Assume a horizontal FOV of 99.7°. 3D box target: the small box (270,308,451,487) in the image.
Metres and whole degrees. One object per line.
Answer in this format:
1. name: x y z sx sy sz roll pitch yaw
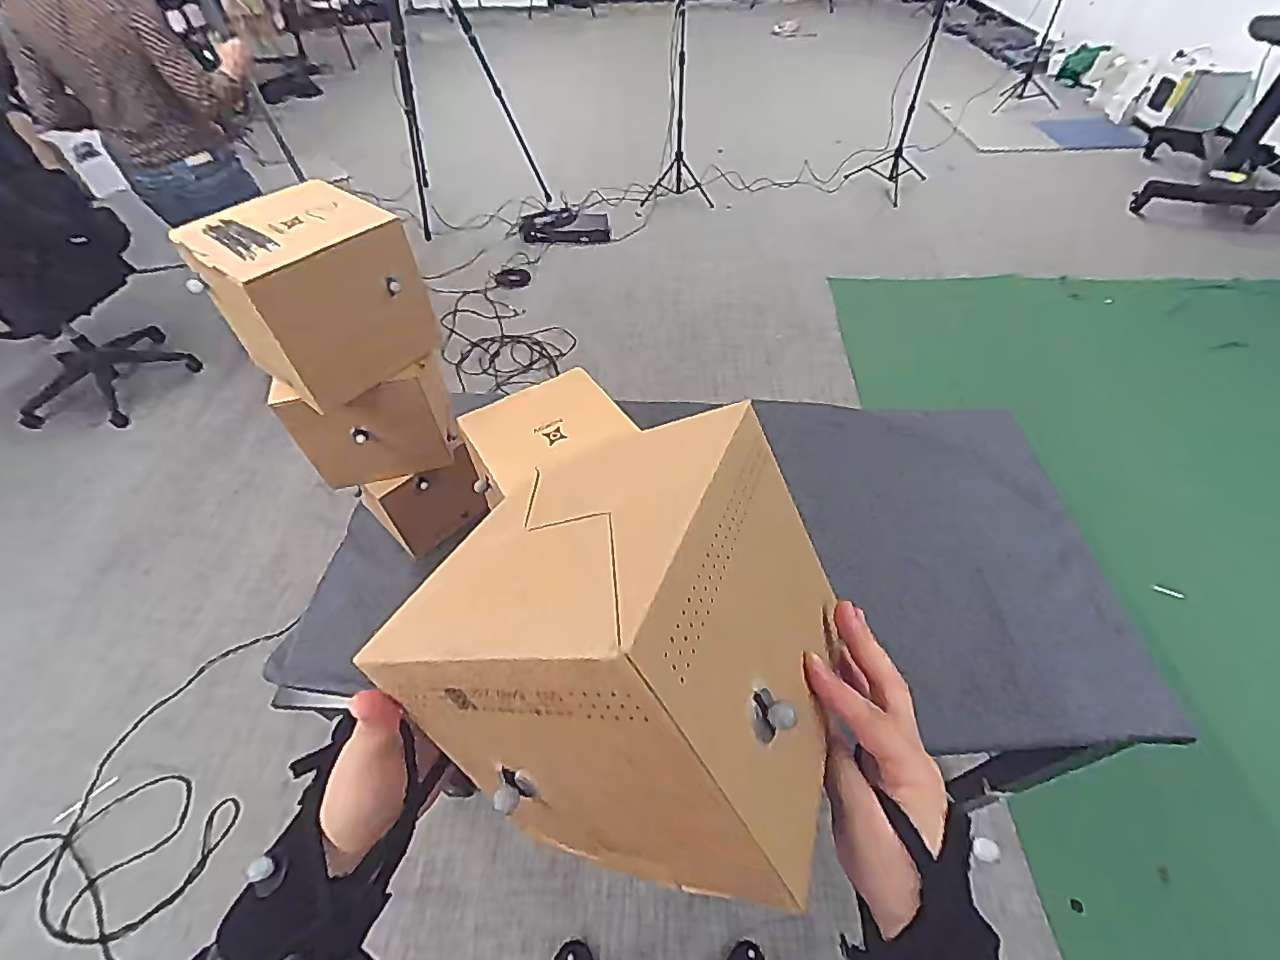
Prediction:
1. small box: -0.376 -0.114 0.766 0.179 0.176 0.168 -13 52 -8

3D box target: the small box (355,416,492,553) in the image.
1. small box: -0.371 -0.012 0.895 0.179 0.176 0.168 35 60 27

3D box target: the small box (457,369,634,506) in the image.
1. small box: -0.094 0.002 0.660 0.168 0.176 0.179 -27 54 -19

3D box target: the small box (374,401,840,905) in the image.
1. small box: -0.003 0.082 0.303 0.168 0.176 0.179 -12 30 34
